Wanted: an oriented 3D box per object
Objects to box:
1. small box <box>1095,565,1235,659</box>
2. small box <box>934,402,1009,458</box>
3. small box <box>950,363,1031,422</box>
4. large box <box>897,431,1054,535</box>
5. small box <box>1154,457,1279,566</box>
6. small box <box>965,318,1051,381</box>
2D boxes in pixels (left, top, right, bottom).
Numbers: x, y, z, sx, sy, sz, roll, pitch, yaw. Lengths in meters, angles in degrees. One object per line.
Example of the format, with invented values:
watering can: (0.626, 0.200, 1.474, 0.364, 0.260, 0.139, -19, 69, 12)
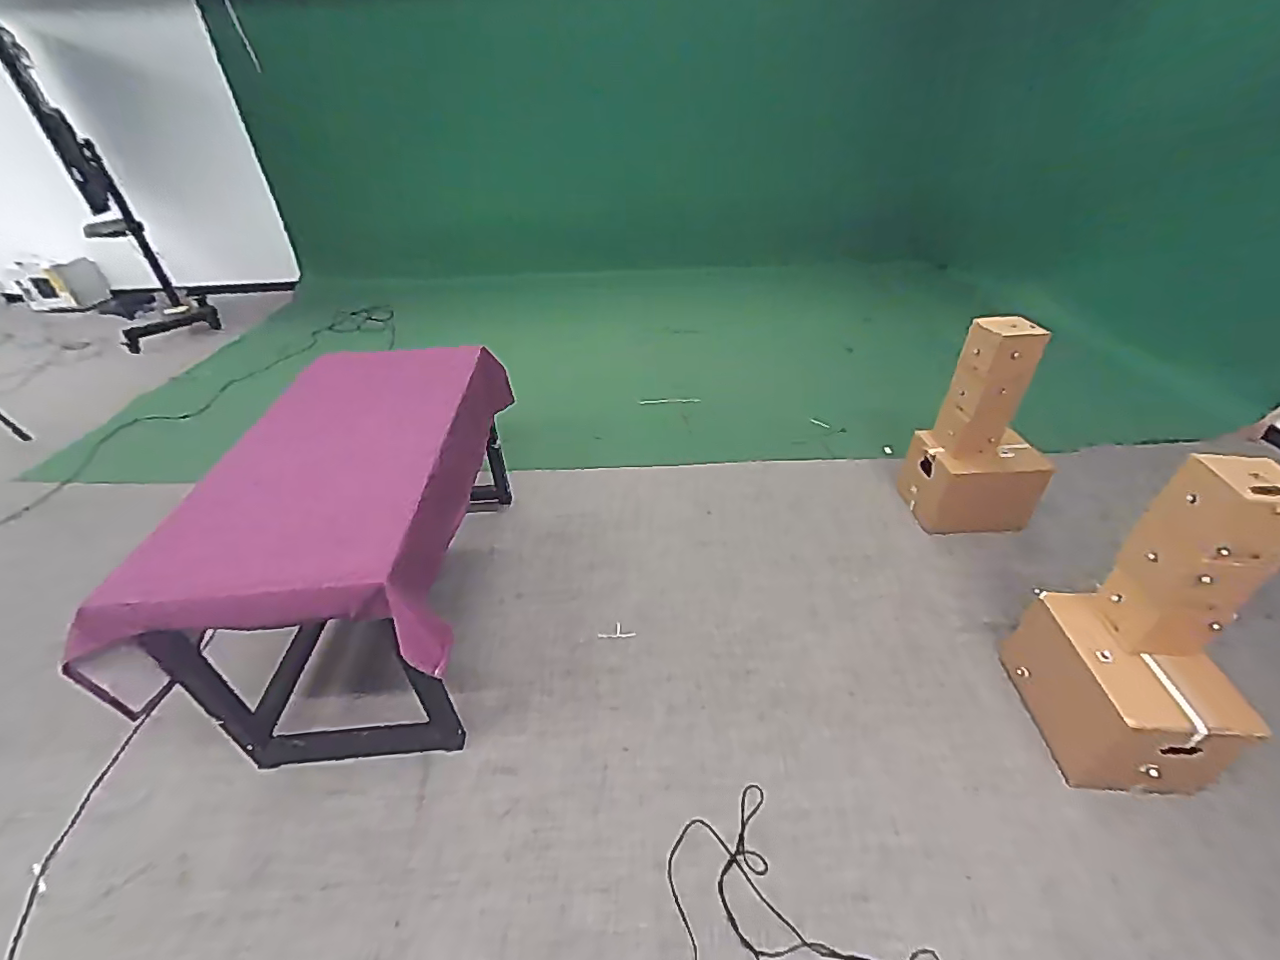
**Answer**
small box: (1.324, 0.340, 1.387, 0.179, 0.176, 0.168, 3, 37, 4)
small box: (1.280, -0.194, 2.100, 0.168, 0.176, 0.179, -3, 36, -2)
small box: (1.284, -0.326, 2.002, 0.179, 0.176, 0.168, -4, 37, -5)
large box: (1.356, 0.009, 2.233, 0.408, 0.320, 0.320, -1, 37, -1)
small box: (1.316, 0.071, 1.197, 0.168, 0.176, 0.179, 6, 36, 7)
small box: (1.280, -0.456, 1.902, 0.179, 0.176, 0.168, -4, 37, -3)
